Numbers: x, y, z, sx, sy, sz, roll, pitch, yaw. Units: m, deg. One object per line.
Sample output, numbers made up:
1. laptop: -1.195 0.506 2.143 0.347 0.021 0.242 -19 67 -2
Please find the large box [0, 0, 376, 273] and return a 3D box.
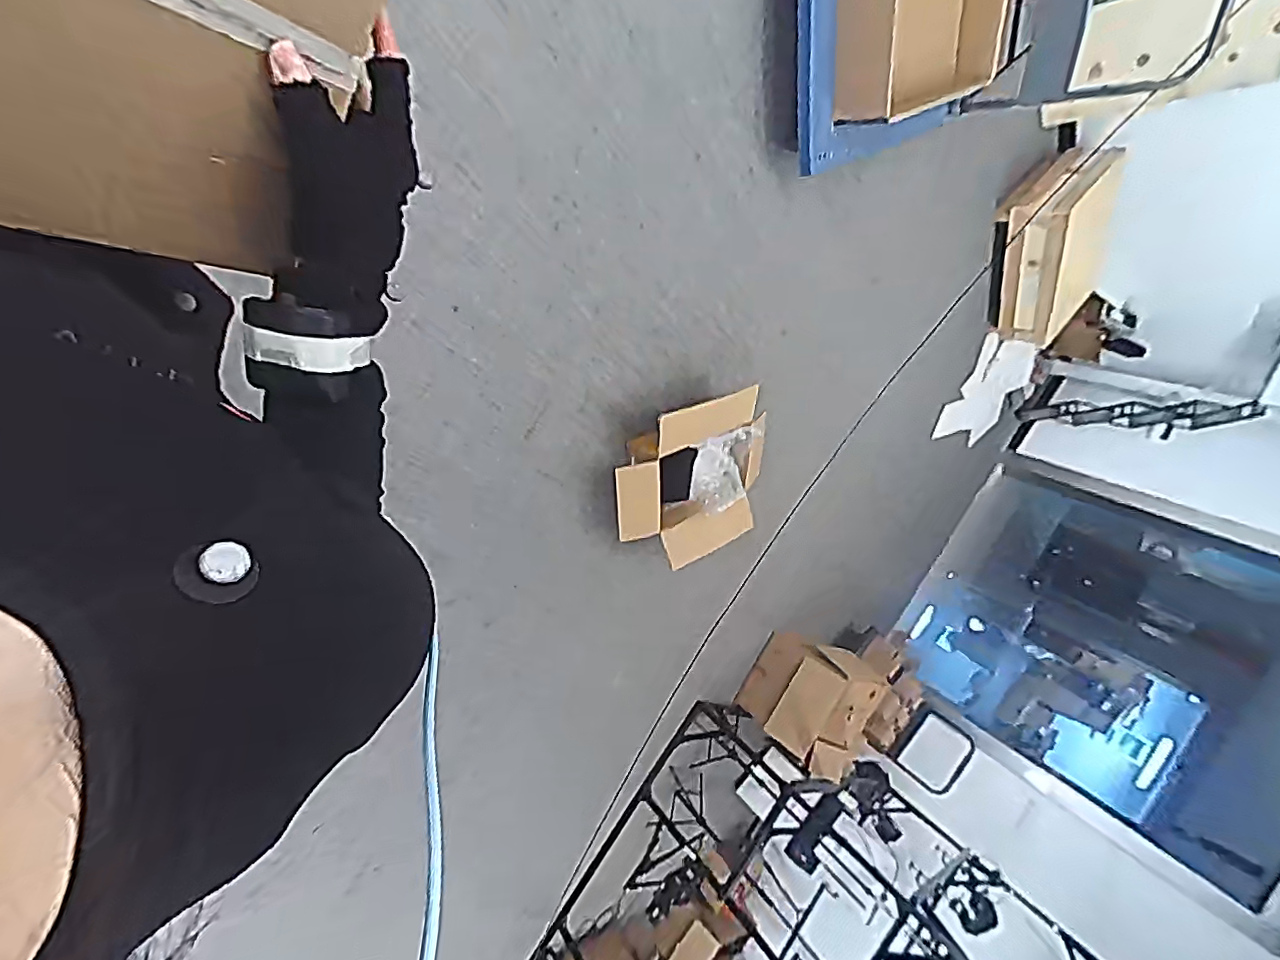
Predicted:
1. large box: -0.369 -0.345 0.214 0.408 0.320 0.320 -6 152 -50
